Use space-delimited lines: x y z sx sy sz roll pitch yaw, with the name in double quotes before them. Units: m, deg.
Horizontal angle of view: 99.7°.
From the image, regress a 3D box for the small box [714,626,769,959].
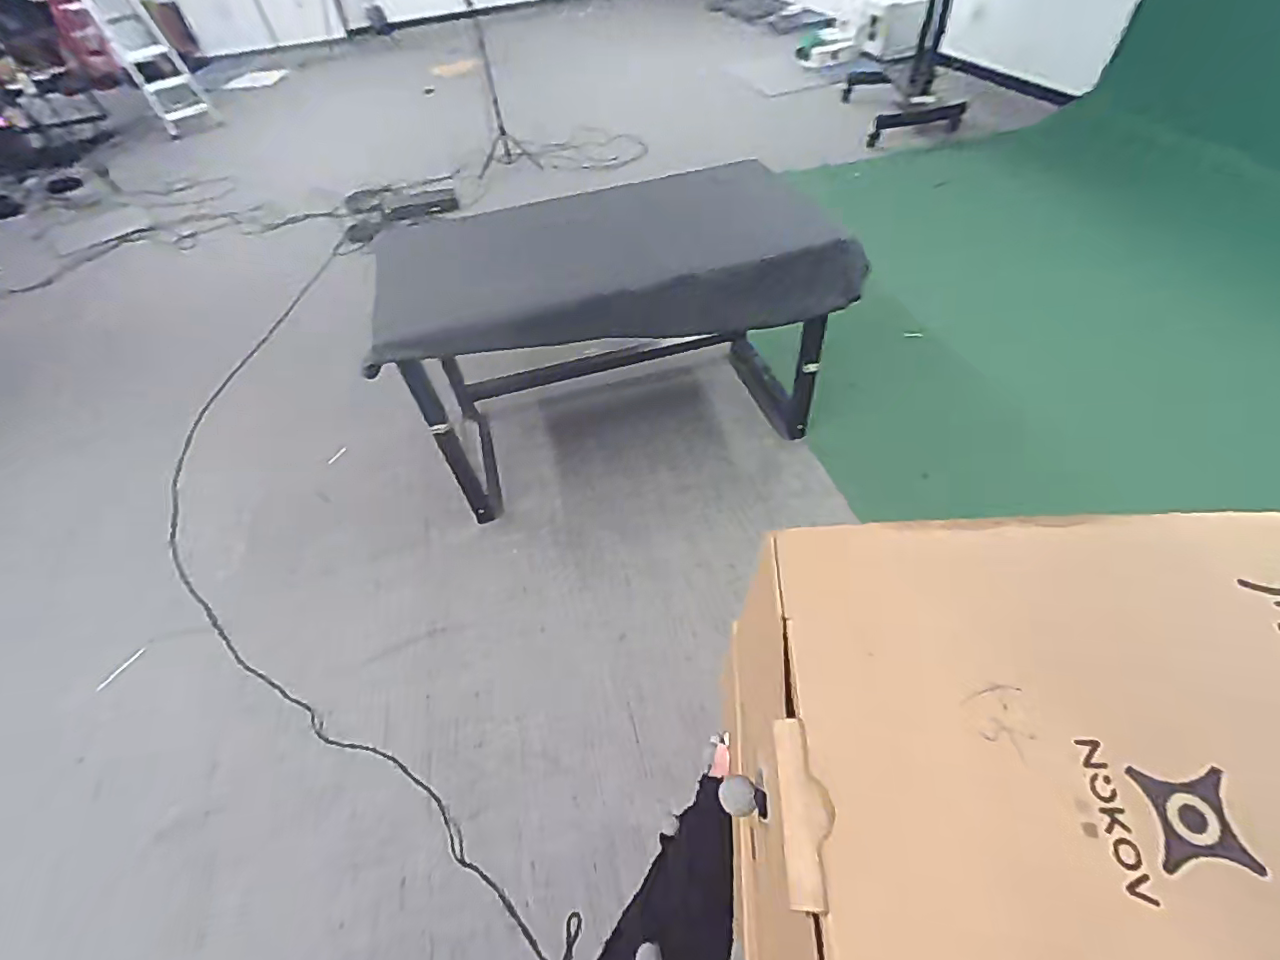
"small box" 0.147 0.191 0.353 0.179 0.176 0.168 -3 61 3
